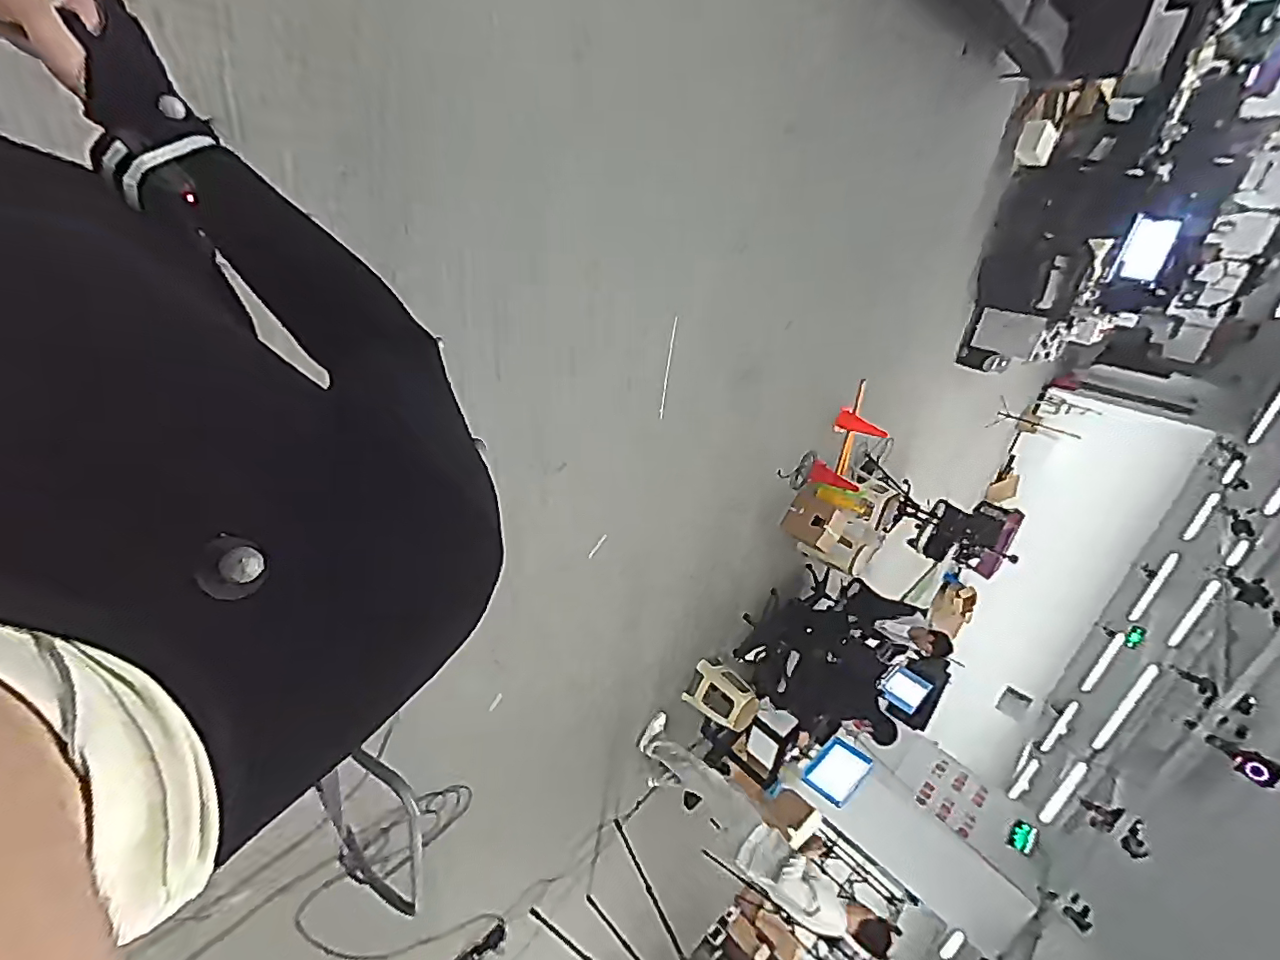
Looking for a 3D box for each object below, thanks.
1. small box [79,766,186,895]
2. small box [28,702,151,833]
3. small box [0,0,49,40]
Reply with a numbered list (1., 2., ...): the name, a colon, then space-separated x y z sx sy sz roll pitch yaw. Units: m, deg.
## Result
1. small box: -1.274 0.870 1.359 0.168 0.176 0.179 -16 123 -43
2. small box: -1.252 0.639 1.232 0.168 0.176 0.179 -15 124 -43
3. small box: -0.545 -0.431 0.367 0.179 0.176 0.168 -12 123 -43
